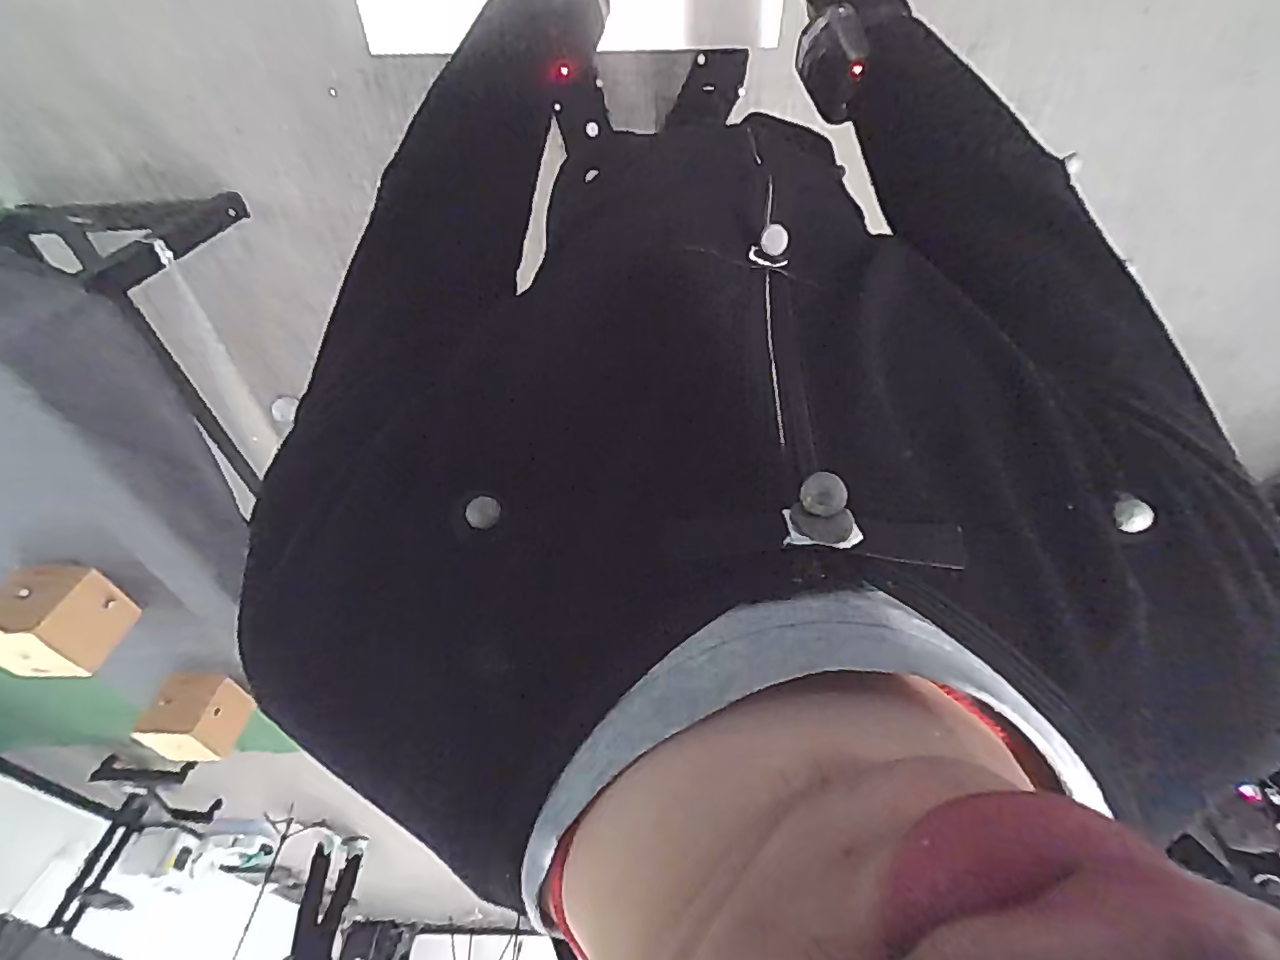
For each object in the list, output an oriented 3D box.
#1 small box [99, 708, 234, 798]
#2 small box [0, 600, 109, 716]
[{"bbox_3d":[-1.228,0.714,1.419,0.168,0.176,0.179,-2,133,1],"label":"small box"},{"bbox_3d":[-1.264,0.358,1.097,0.168,0.176,0.179,-1,131,-1],"label":"small box"}]
